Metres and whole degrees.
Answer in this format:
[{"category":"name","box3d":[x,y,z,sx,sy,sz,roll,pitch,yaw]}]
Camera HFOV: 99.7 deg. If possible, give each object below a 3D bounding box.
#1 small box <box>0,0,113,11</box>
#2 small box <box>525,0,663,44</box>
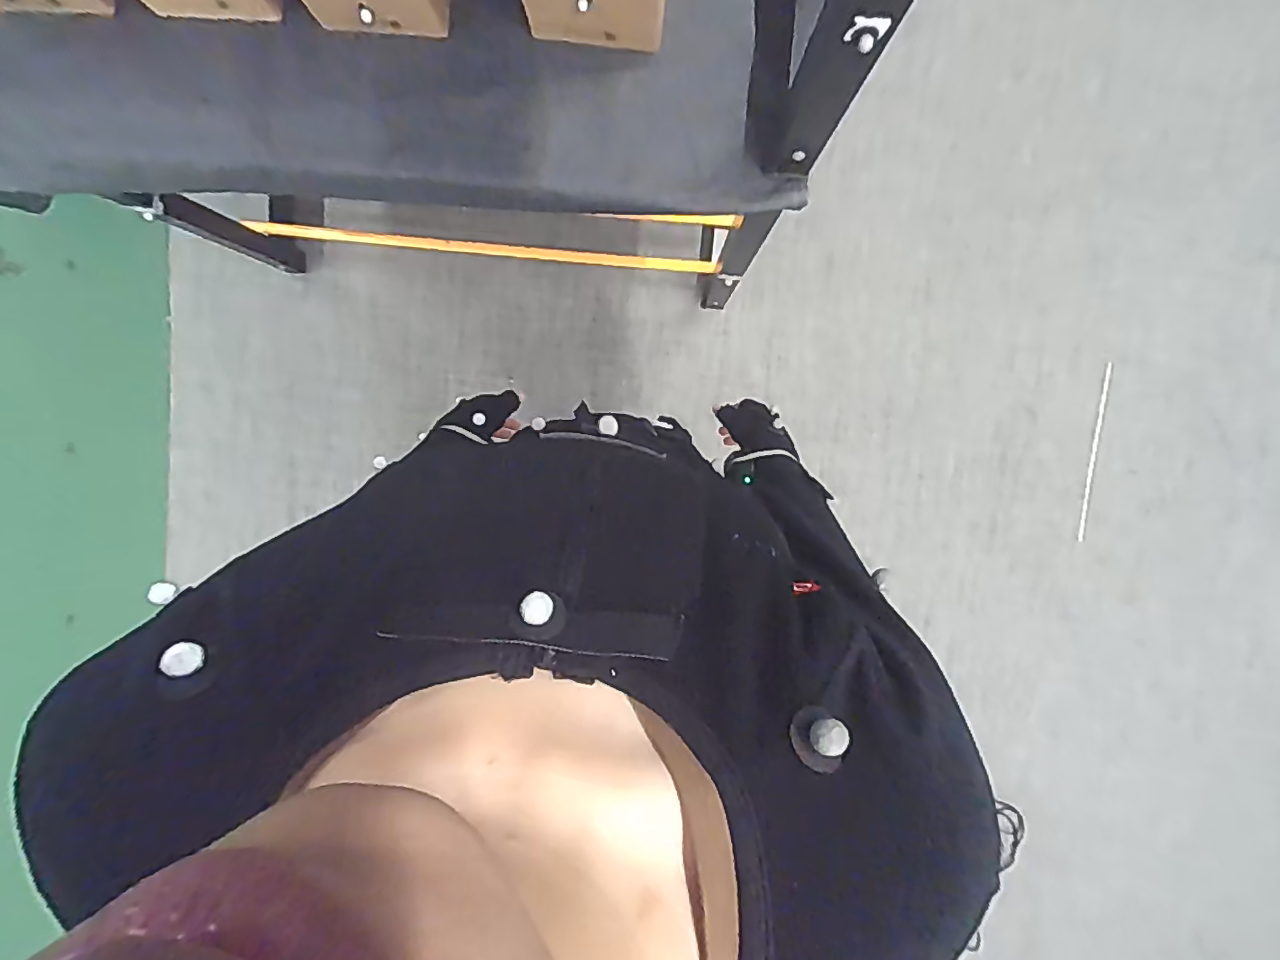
[{"category":"small box","box3d":[-0.757,-0.691,0.613,0.168,0.176,0.179,3,96,1]},{"category":"small box","box3d":[-0.050,-0.636,0.600,0.168,0.176,0.179,8,96,0]}]
